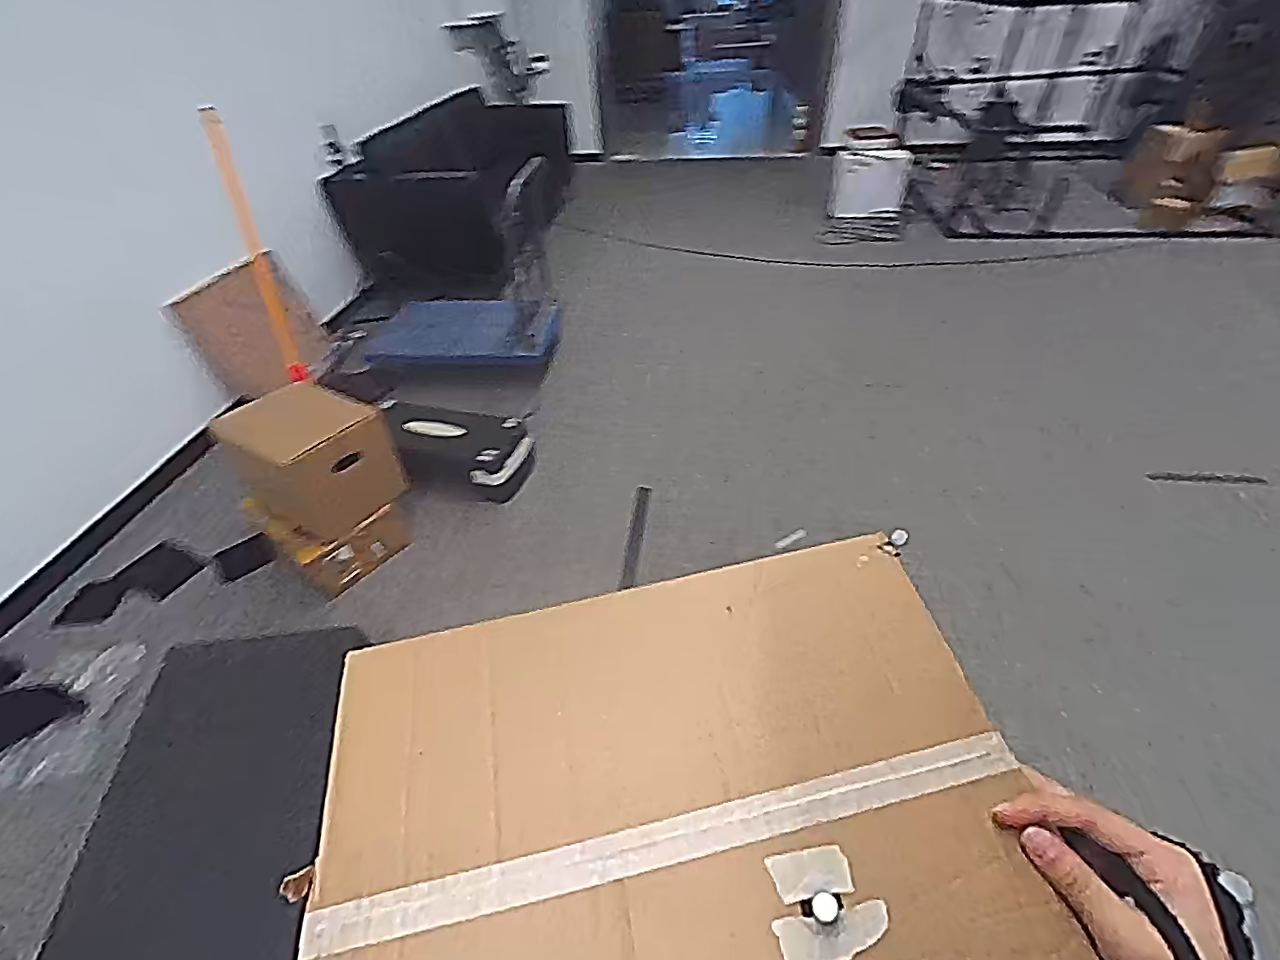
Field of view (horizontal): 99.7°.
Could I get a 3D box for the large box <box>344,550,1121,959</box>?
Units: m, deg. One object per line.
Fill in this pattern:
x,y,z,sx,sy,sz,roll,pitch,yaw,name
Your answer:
0.039,0.301,0.431,0.408,0.320,0.320,-11,54,-4,large box
